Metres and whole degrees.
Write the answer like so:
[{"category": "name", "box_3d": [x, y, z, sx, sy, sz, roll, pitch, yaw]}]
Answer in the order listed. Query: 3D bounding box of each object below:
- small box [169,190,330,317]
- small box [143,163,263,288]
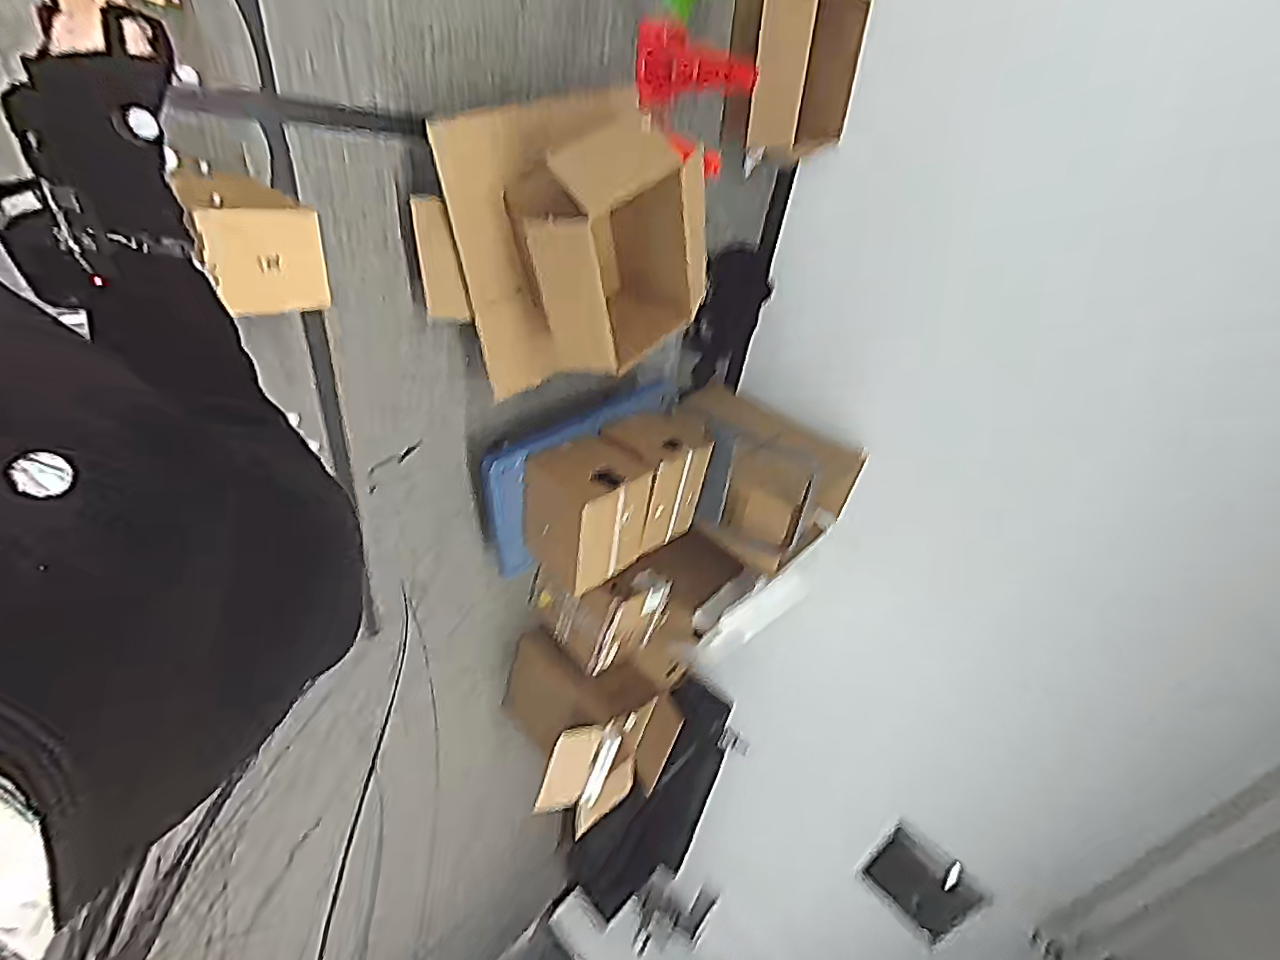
[{"category": "small box", "box_3d": [-0.684, -0.404, 0.957, 0.179, 0.176, 0.168, -23, 137, -41]}, {"category": "small box", "box_3d": [-0.808, -0.480, 1.032, 0.168, 0.176, 0.179, -20, 135, -44]}]
